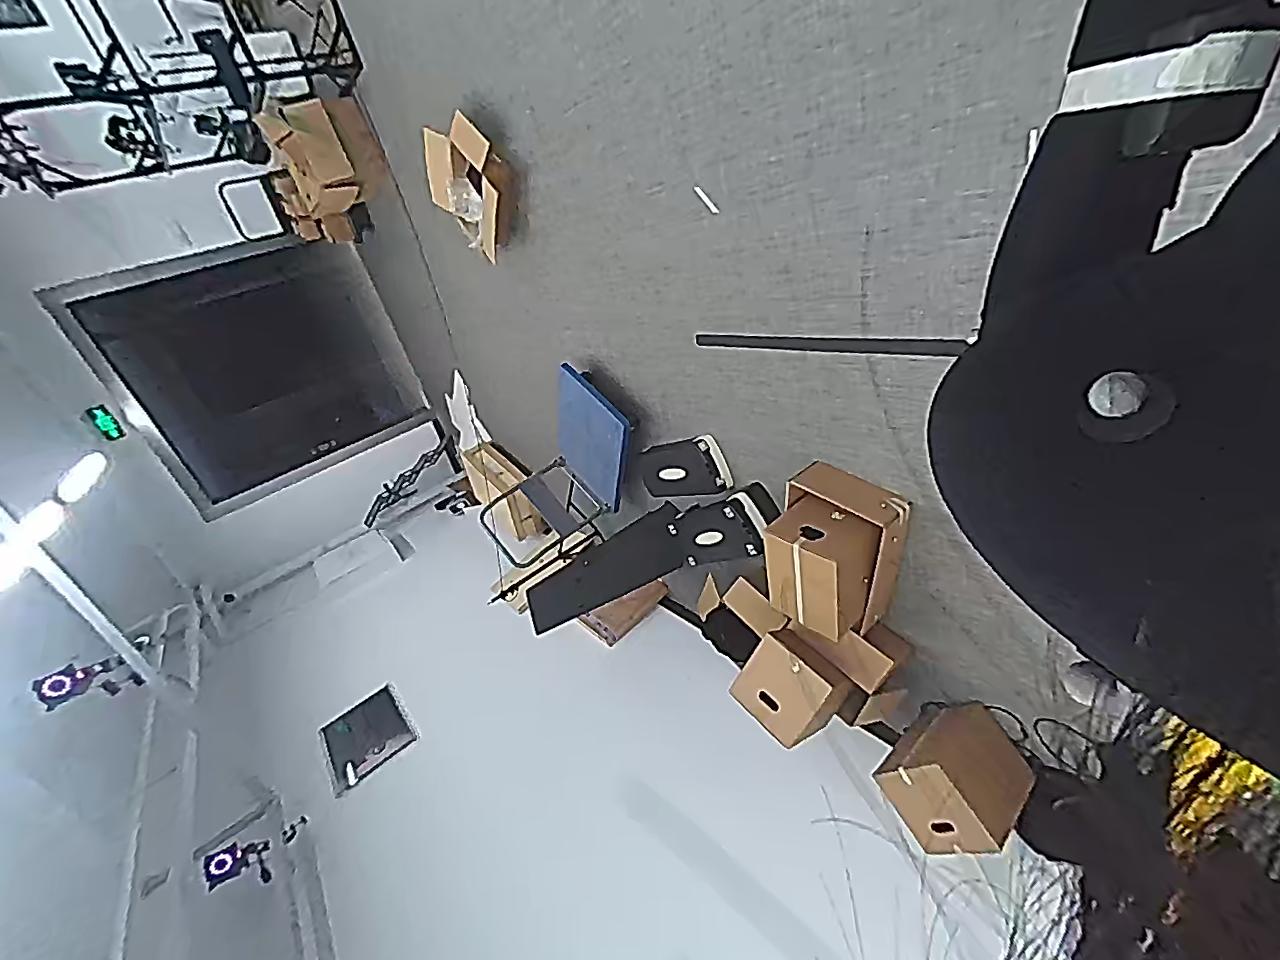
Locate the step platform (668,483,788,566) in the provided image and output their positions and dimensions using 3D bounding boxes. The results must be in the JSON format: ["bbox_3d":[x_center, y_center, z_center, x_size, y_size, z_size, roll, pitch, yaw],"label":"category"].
[{"bbox_3d":[0.406,0.241,2.686,0.286,0.204,0.684,59,152,-1],"label":"step platform"}]
